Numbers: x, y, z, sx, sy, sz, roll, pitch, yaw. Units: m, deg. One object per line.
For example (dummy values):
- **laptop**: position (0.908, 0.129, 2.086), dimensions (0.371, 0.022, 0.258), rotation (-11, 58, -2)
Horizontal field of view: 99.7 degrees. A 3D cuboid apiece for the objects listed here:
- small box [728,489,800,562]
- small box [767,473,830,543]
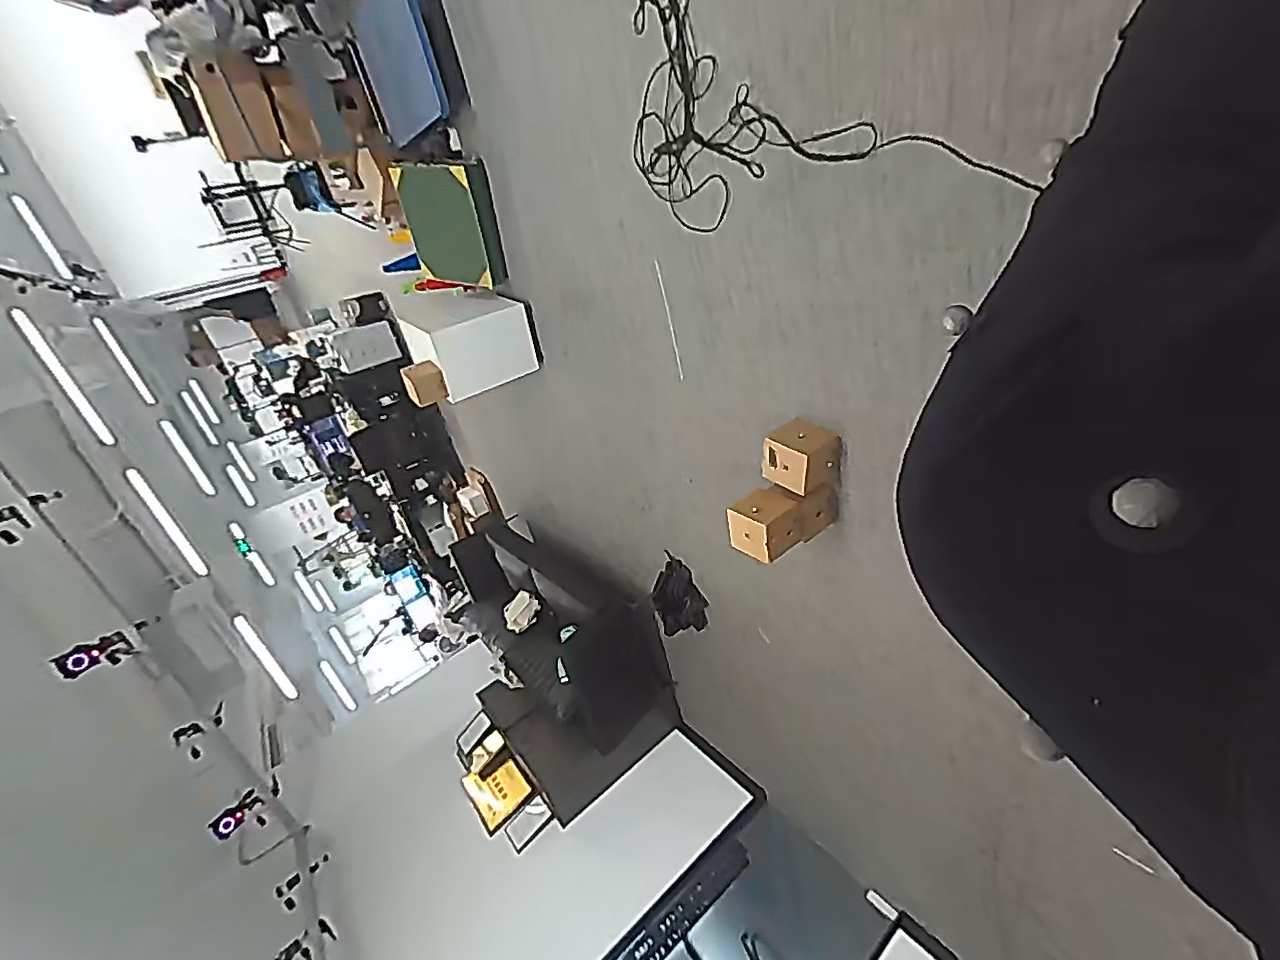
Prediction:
- **small box**: position (0.431, 0.149, 1.873), dimensions (0.179, 0.176, 0.168), rotation (24, 135, 48)
- **small box**: position (0.568, 0.092, 1.945), dimensions (0.179, 0.176, 0.168), rotation (24, 135, 47)
